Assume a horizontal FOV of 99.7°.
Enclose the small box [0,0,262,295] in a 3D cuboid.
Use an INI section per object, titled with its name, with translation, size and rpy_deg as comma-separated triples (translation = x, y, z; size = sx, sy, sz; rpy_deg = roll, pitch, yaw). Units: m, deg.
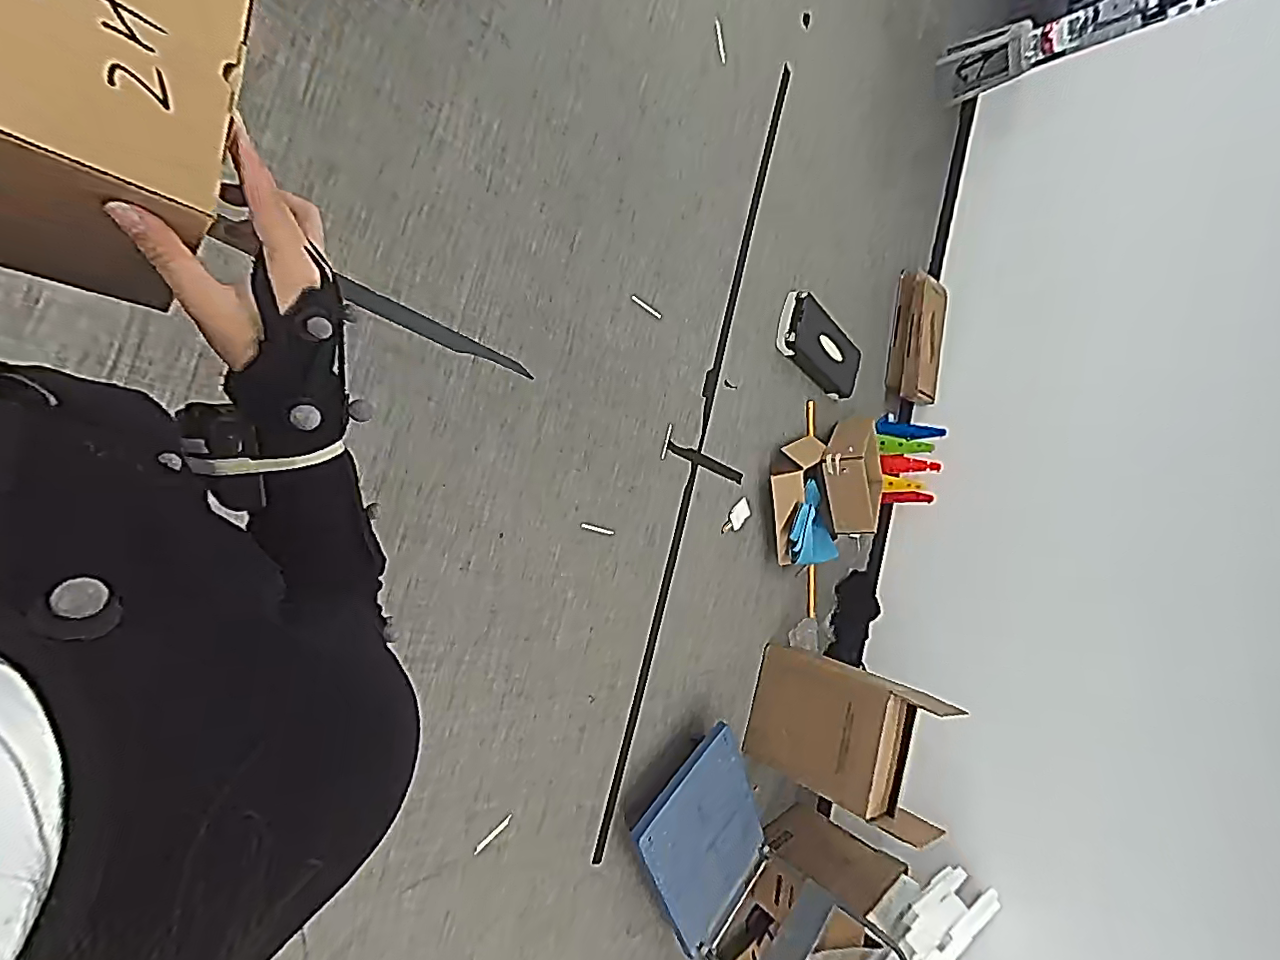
[small box]
translation = -0.329, -0.220, 0.283
size = 0.179, 0.176, 0.168
rpy_deg = 12, 77, -47
